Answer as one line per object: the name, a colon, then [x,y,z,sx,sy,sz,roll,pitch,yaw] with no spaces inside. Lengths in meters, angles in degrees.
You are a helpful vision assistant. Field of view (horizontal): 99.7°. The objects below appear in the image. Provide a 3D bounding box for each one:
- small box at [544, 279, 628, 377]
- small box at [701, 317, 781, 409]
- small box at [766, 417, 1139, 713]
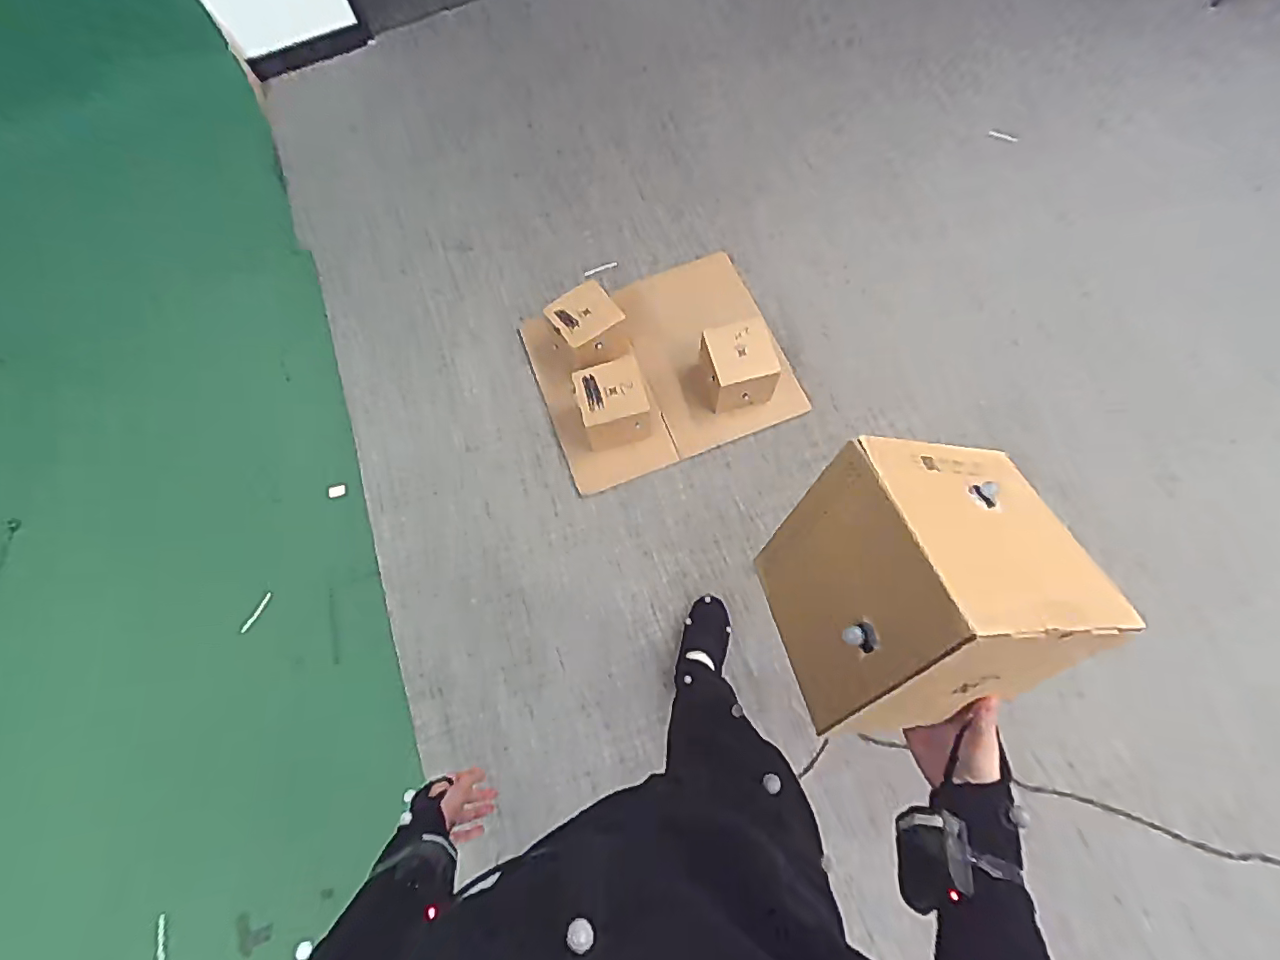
small box: [-0.147,-0.428,1.548,0.179,0.176,0.168,-34,72,-9]
small box: [0.268,-0.308,1.475,0.168,0.176,0.179,-13,70,-2]
small box: [0.226,0.074,0.449,0.168,0.179,0.176,4,47,-21]
